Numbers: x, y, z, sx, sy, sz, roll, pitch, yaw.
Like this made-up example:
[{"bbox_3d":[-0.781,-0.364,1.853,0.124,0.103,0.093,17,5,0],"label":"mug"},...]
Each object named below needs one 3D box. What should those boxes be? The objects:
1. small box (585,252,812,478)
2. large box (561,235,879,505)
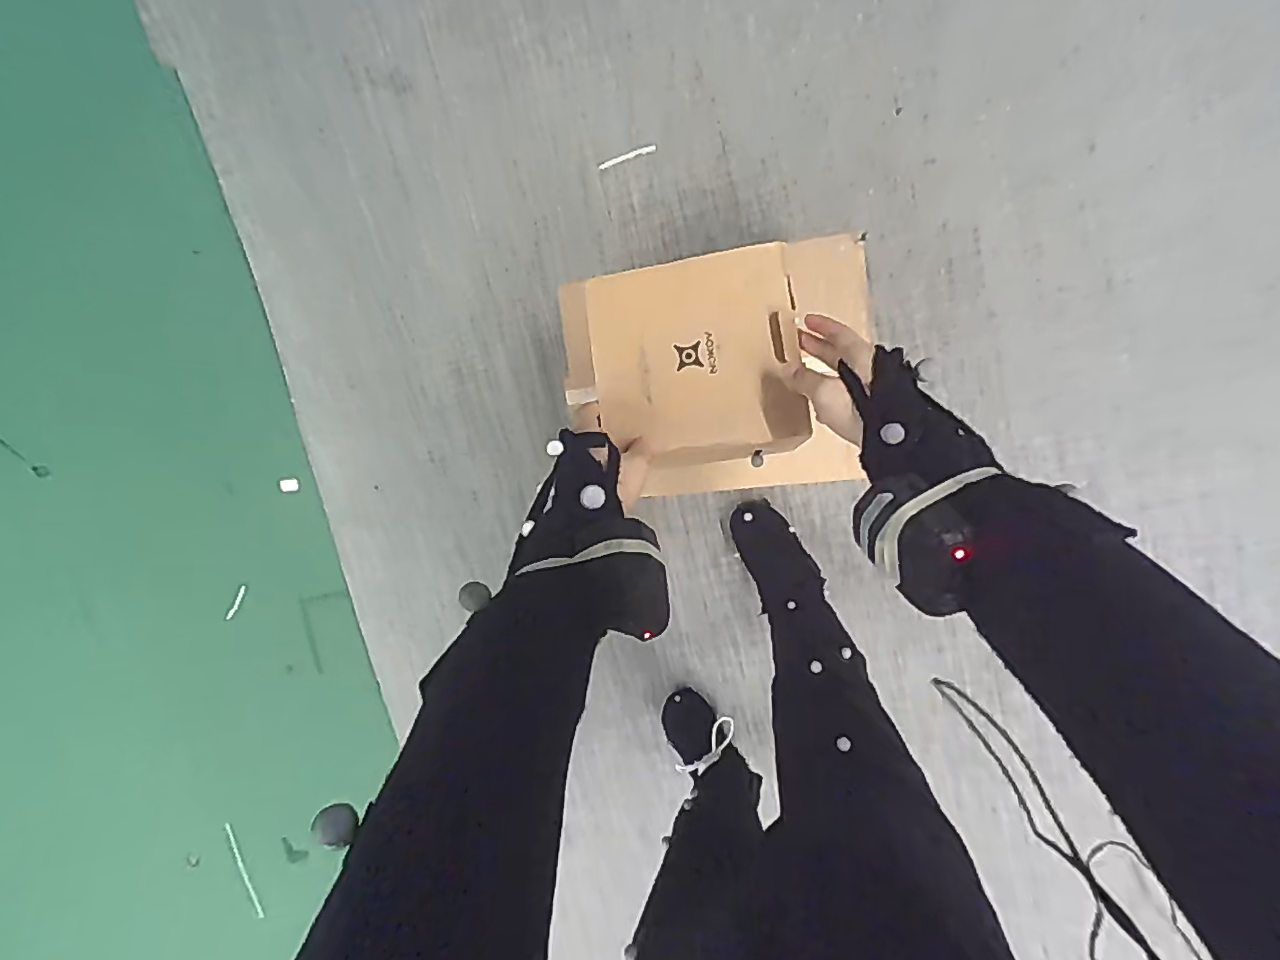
[{"bbox_3d":[0.059,-0.095,0.536,0.179,0.176,0.168,-9,86,10],"label":"small box"},{"bbox_3d":[0.128,-0.157,0.875,0.408,0.320,0.320,-6,99,12],"label":"large box"}]
